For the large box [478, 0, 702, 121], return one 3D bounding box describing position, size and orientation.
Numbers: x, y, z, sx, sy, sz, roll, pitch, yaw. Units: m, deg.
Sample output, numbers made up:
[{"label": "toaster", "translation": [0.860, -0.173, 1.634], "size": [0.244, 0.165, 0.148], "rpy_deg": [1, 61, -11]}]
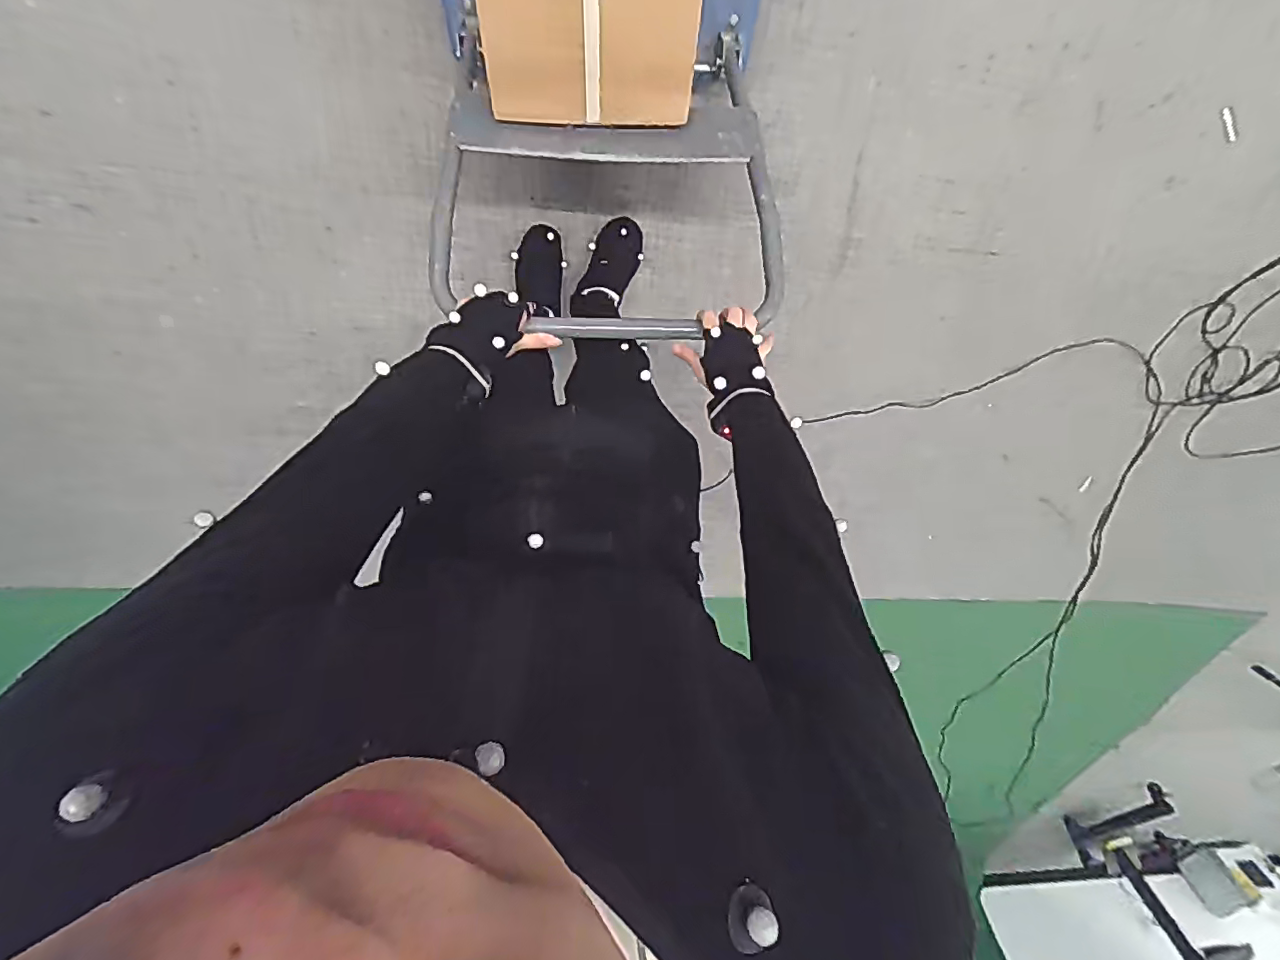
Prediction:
[{"label": "large box", "translation": [-0.074, -0.814, 0.784], "size": [0.320, 0.320, 0.408], "rpy_deg": [-2, 149, -5]}]
